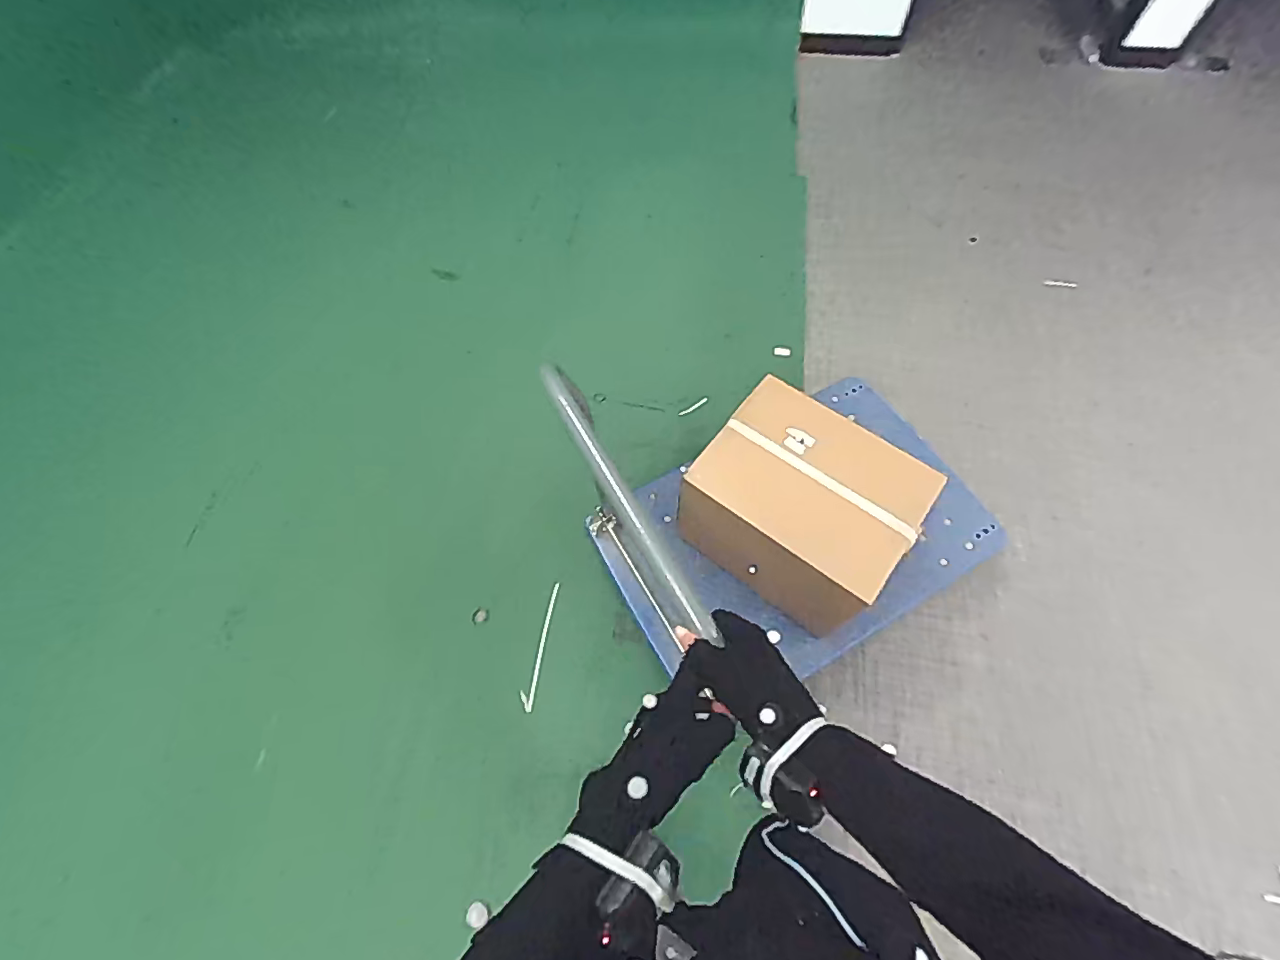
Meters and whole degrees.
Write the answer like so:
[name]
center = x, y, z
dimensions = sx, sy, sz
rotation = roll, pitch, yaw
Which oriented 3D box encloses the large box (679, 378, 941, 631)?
[large box]
center = 0.333, 0.061, 1.168
dimensions = 0.408, 0.320, 0.320
rotation = 35, 69, 18
